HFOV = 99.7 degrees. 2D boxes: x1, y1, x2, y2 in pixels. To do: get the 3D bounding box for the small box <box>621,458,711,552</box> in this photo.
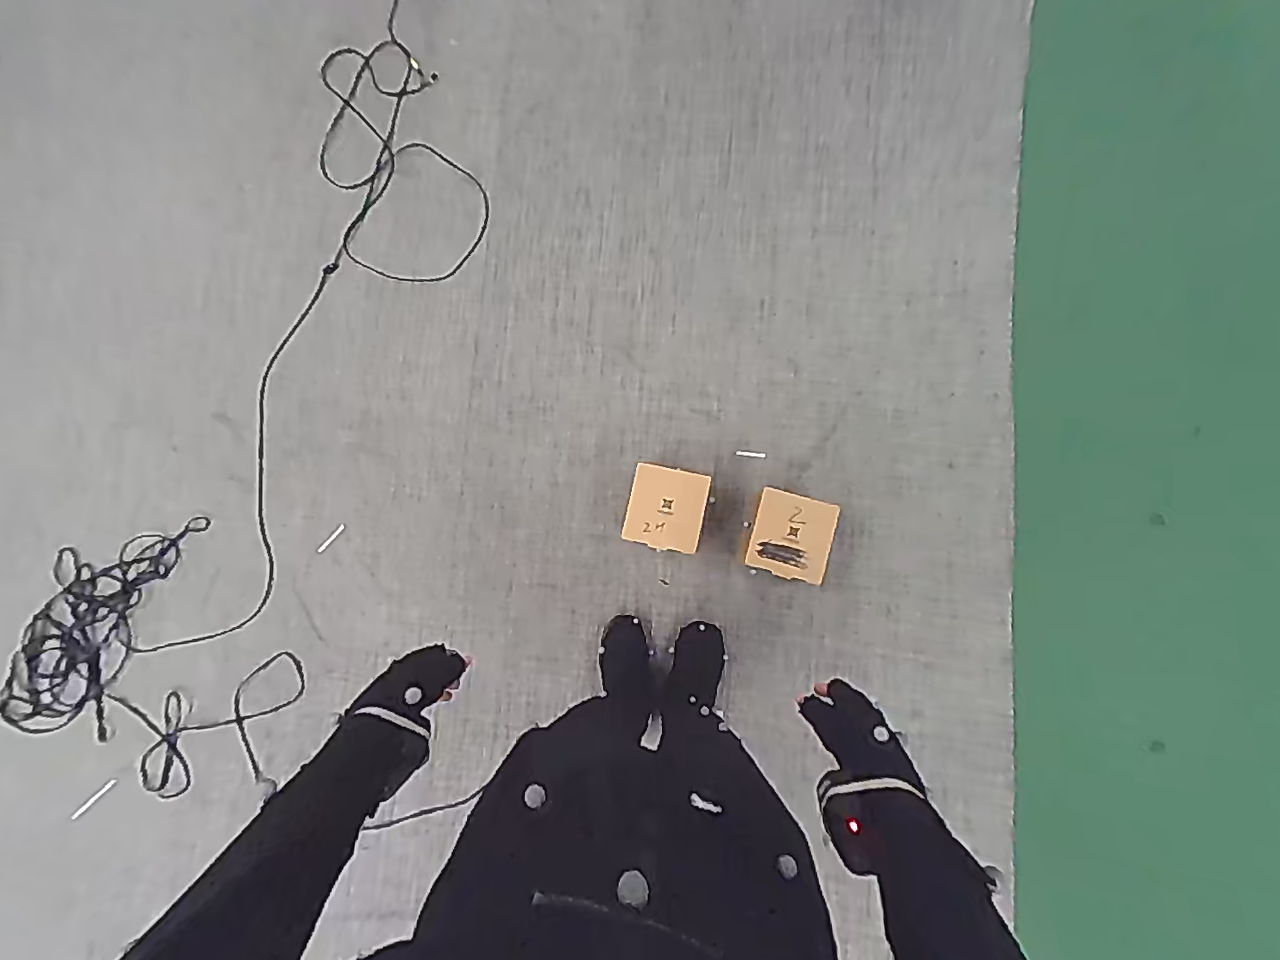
[{"bbox_3d":[0.062,0.060,1.248,0.168,0.176,0.179,13,86,7],"label":"small box"}]
